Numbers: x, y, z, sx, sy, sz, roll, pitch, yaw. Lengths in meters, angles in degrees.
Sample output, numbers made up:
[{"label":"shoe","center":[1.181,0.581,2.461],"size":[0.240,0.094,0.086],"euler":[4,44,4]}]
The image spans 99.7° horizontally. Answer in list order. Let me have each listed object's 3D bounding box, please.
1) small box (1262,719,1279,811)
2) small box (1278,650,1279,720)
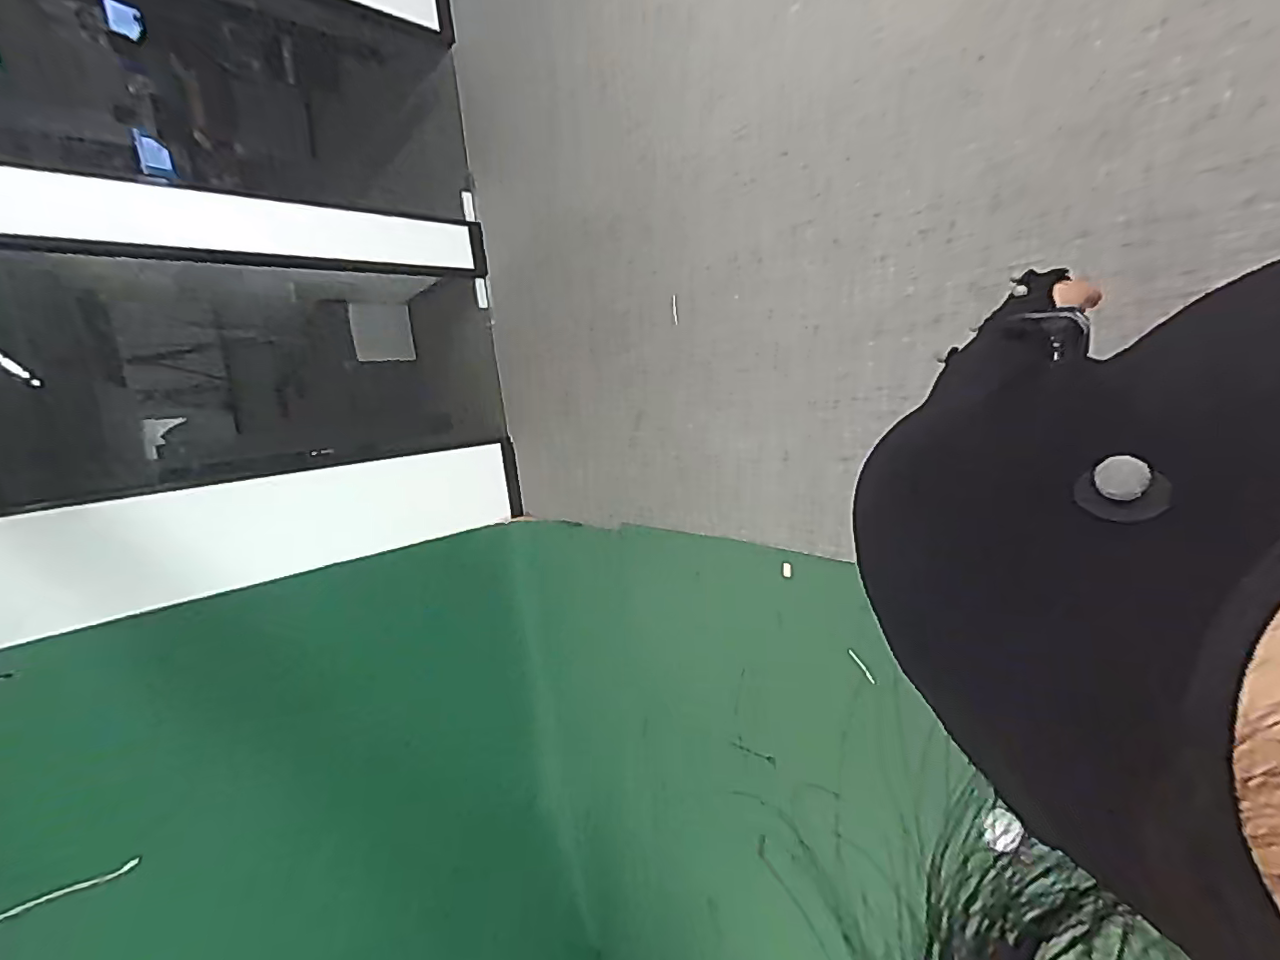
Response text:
[{"label":"small box","center":[0.924,0.355,0.660],"size":[0.168,0.176,0.179],"euler":[34,124,40]},{"label":"small box","center":[1.168,0.319,0.875],"size":[0.168,0.176,0.179],"euler":[3,102,49]}]
